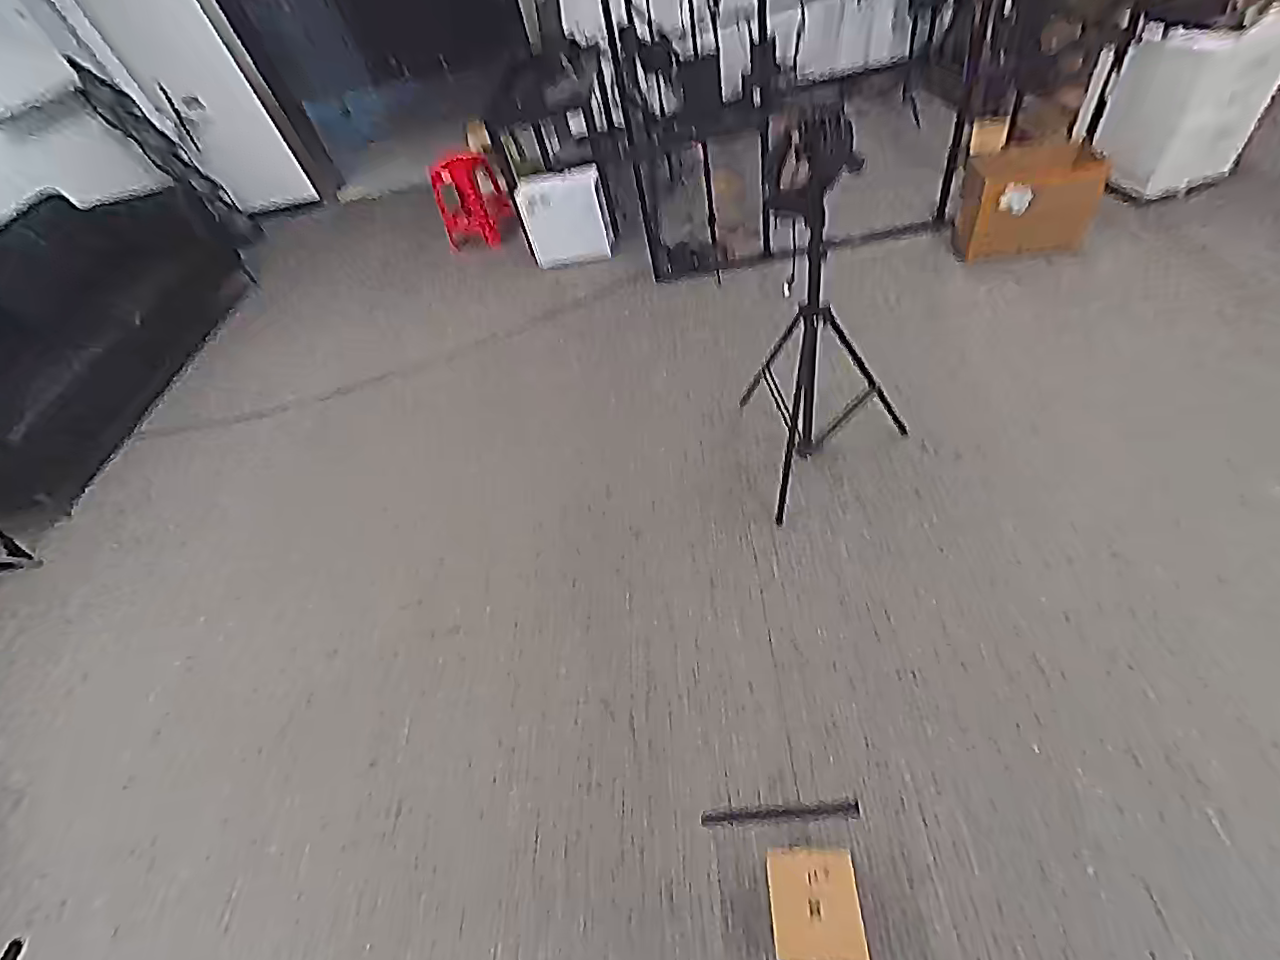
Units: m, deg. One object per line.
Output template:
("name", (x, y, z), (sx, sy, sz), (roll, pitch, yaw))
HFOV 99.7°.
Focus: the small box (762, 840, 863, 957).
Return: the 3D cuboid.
("small box", (0.341, 0.841, 1.092), (0.168, 0.176, 0.179), (-6, 50, 10))
